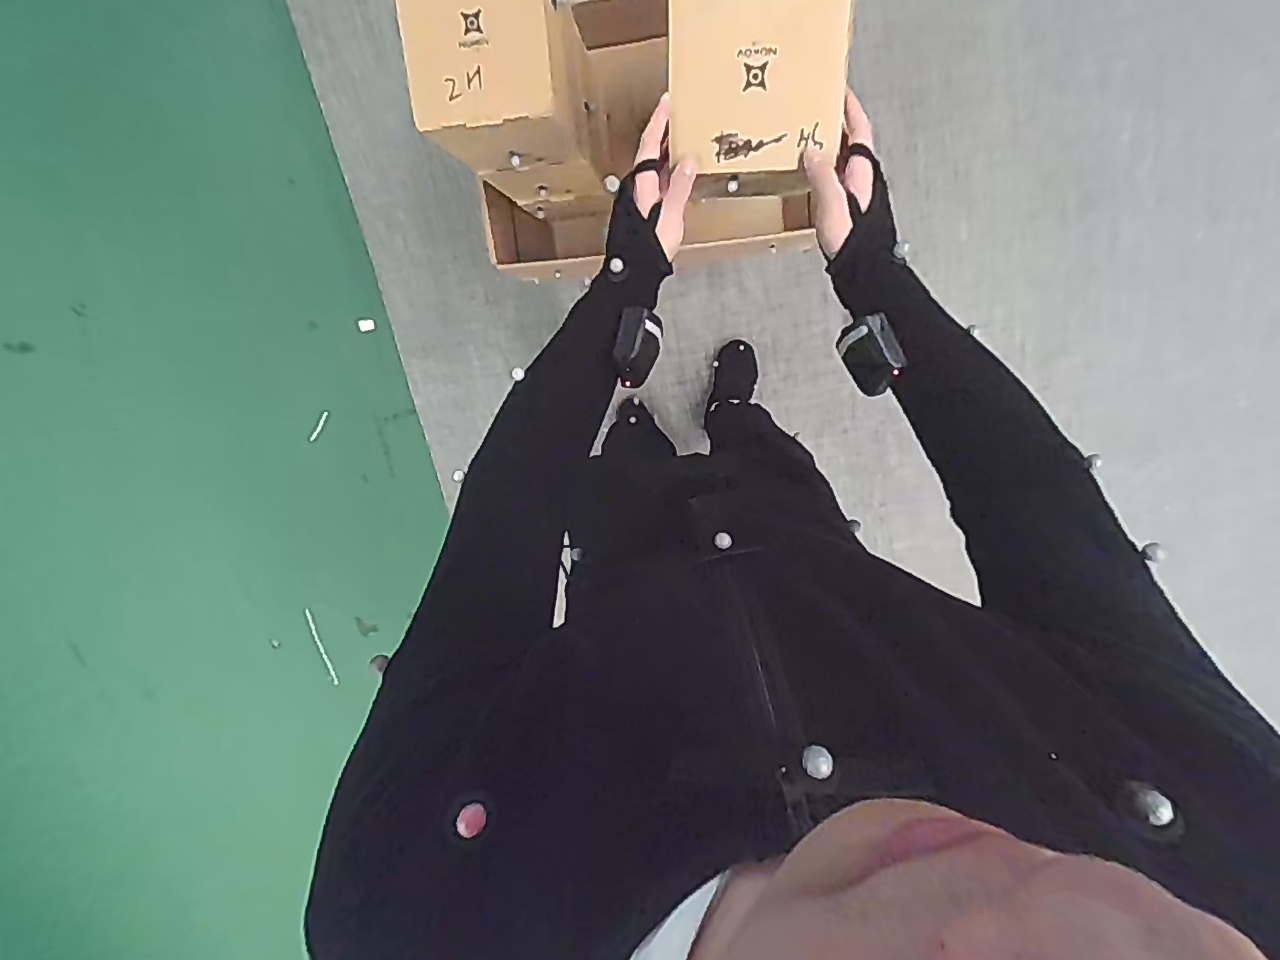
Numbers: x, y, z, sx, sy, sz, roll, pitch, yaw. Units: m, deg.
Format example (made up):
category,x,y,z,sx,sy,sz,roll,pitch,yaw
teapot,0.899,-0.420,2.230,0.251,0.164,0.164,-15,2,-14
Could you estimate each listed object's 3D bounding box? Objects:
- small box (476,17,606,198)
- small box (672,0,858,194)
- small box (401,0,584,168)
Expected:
category,x,y,z,sx,sy,sz,roll,pitch,yaw
small box,-0.150,-0.551,0.824,0.168,0.176,0.179,-2,106,7
small box,0.119,-0.415,0.574,0.168,0.176,0.179,1,111,5
small box,-0.169,-0.510,0.665,0.168,0.176,0.179,-1,106,7
